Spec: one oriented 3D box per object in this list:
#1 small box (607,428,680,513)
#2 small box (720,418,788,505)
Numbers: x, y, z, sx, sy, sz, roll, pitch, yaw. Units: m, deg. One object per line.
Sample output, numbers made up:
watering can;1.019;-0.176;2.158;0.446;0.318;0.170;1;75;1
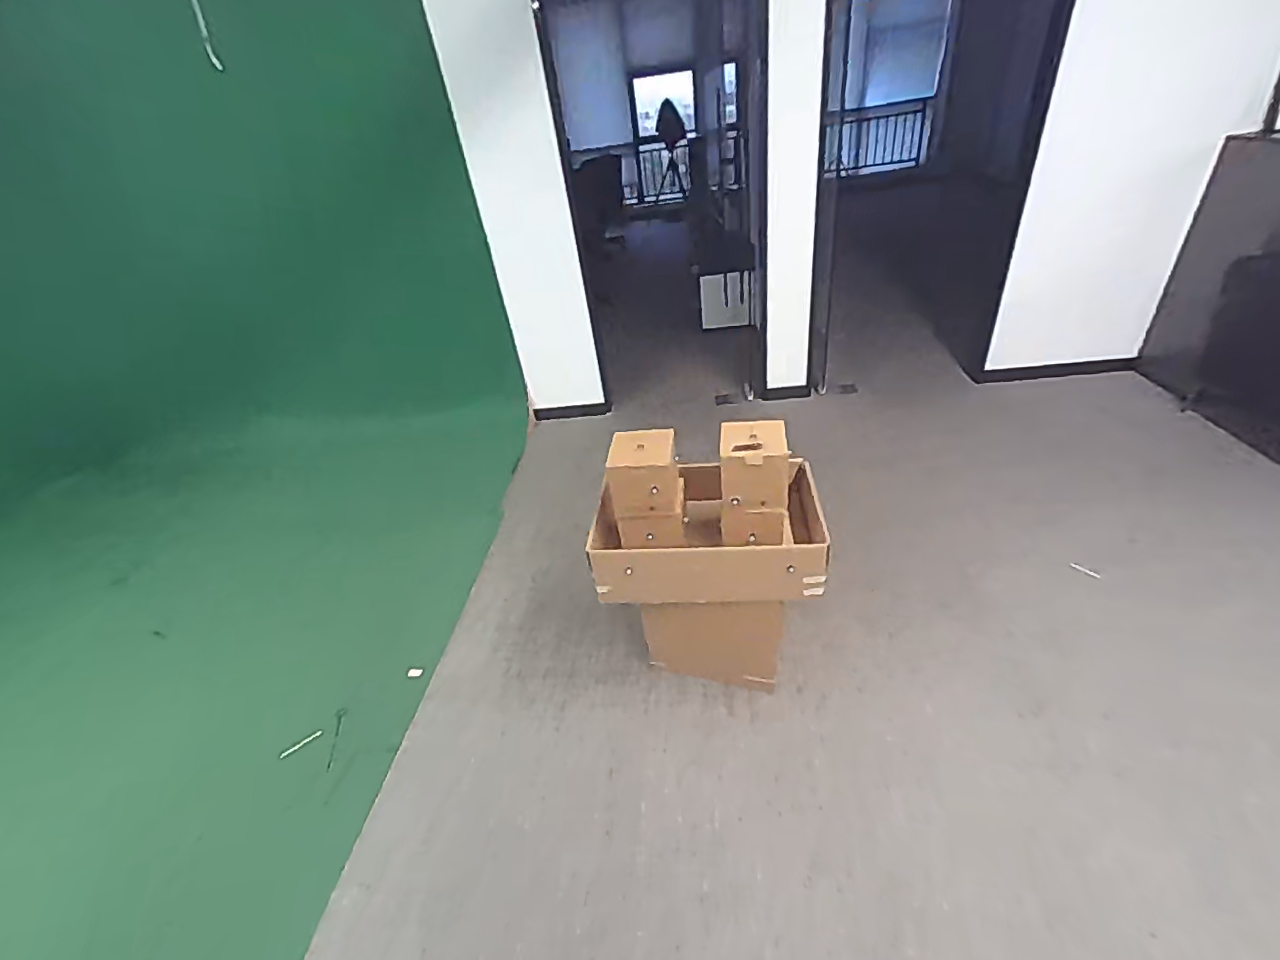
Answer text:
small box;0.016;-0.022;1.460;0.168;0.176;0.179;-2;35;10
small box;0.301;-0.046;1.423;0.168;0.176;0.179;-2;35;12
